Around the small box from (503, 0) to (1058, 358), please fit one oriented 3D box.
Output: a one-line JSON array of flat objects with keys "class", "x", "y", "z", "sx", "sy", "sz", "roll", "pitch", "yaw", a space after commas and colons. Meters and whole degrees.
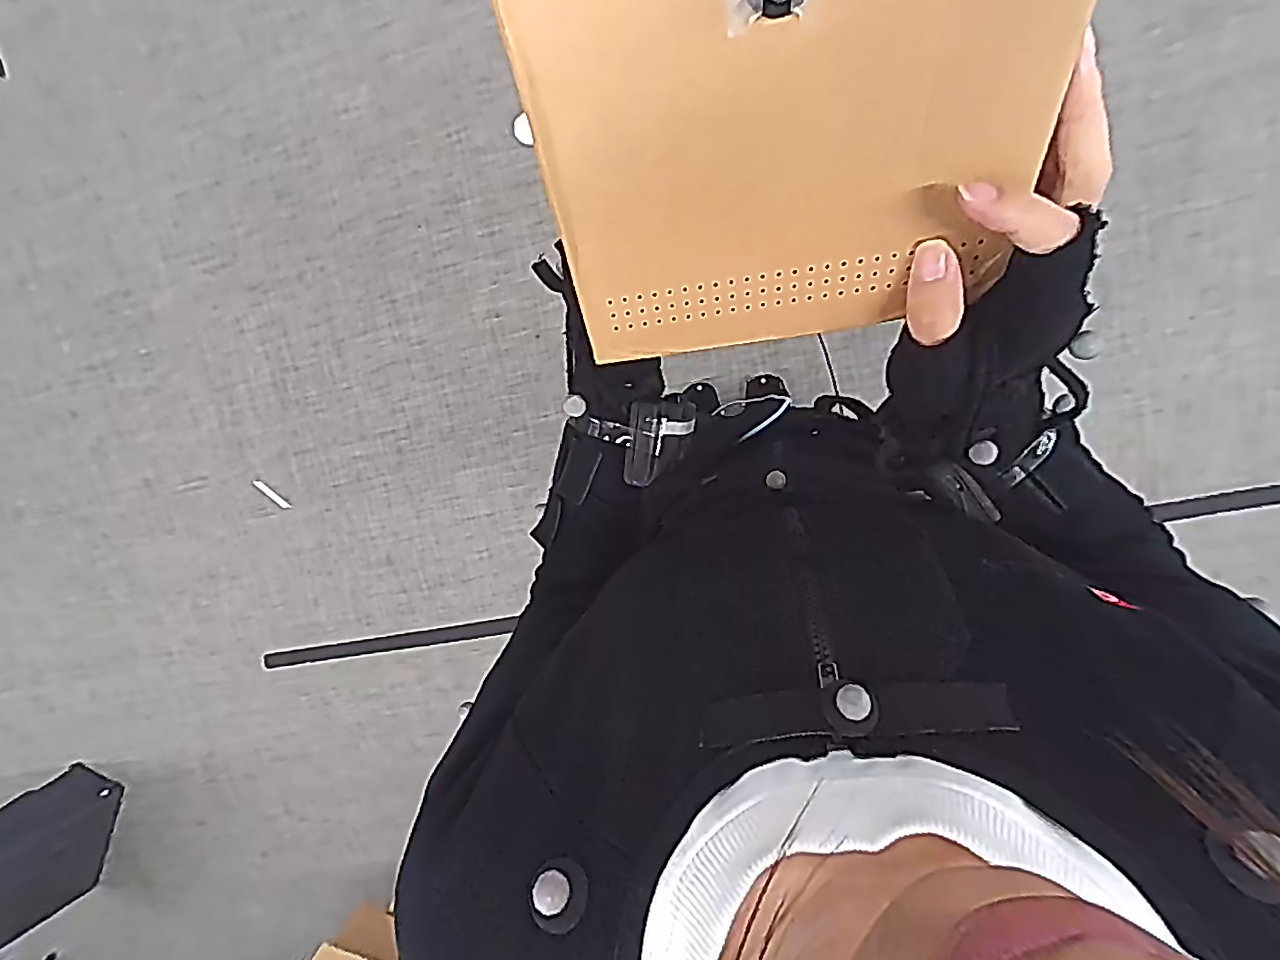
[{"class": "small box", "x": 0.053, "y": -0.172, "z": 0.241, "sx": 0.179, "sy": 0.168, "sz": 0.176, "roll": -6, "pitch": 138, "yaw": 8}]
